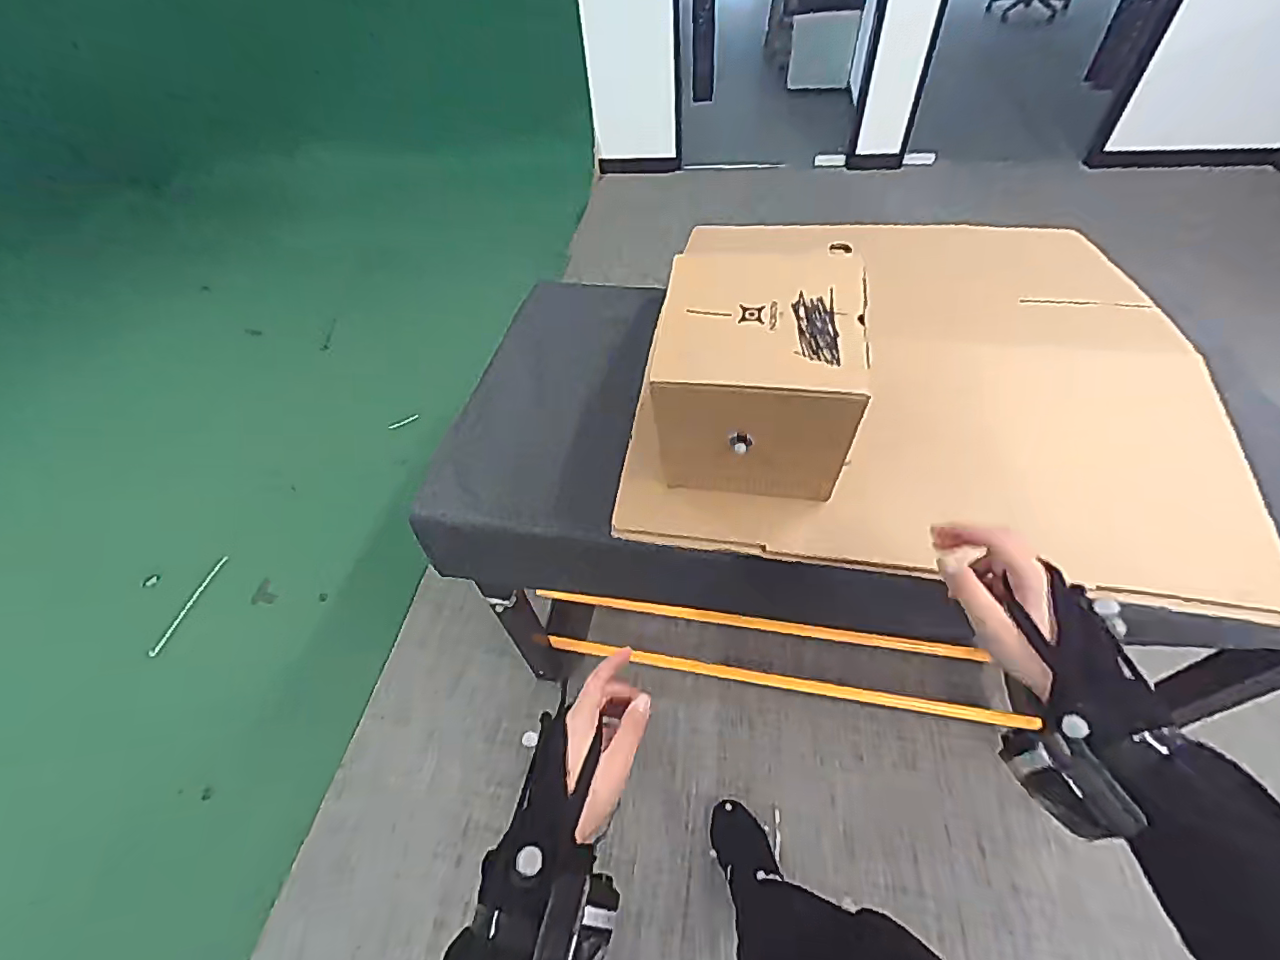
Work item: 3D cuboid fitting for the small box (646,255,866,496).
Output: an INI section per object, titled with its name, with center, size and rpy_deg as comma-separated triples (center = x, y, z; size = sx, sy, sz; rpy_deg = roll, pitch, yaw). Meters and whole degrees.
[small box]
center = 0.113, -0.097, 0.538
size = 0.179, 0.176, 0.168
rpy_deg = 5, 60, 11
